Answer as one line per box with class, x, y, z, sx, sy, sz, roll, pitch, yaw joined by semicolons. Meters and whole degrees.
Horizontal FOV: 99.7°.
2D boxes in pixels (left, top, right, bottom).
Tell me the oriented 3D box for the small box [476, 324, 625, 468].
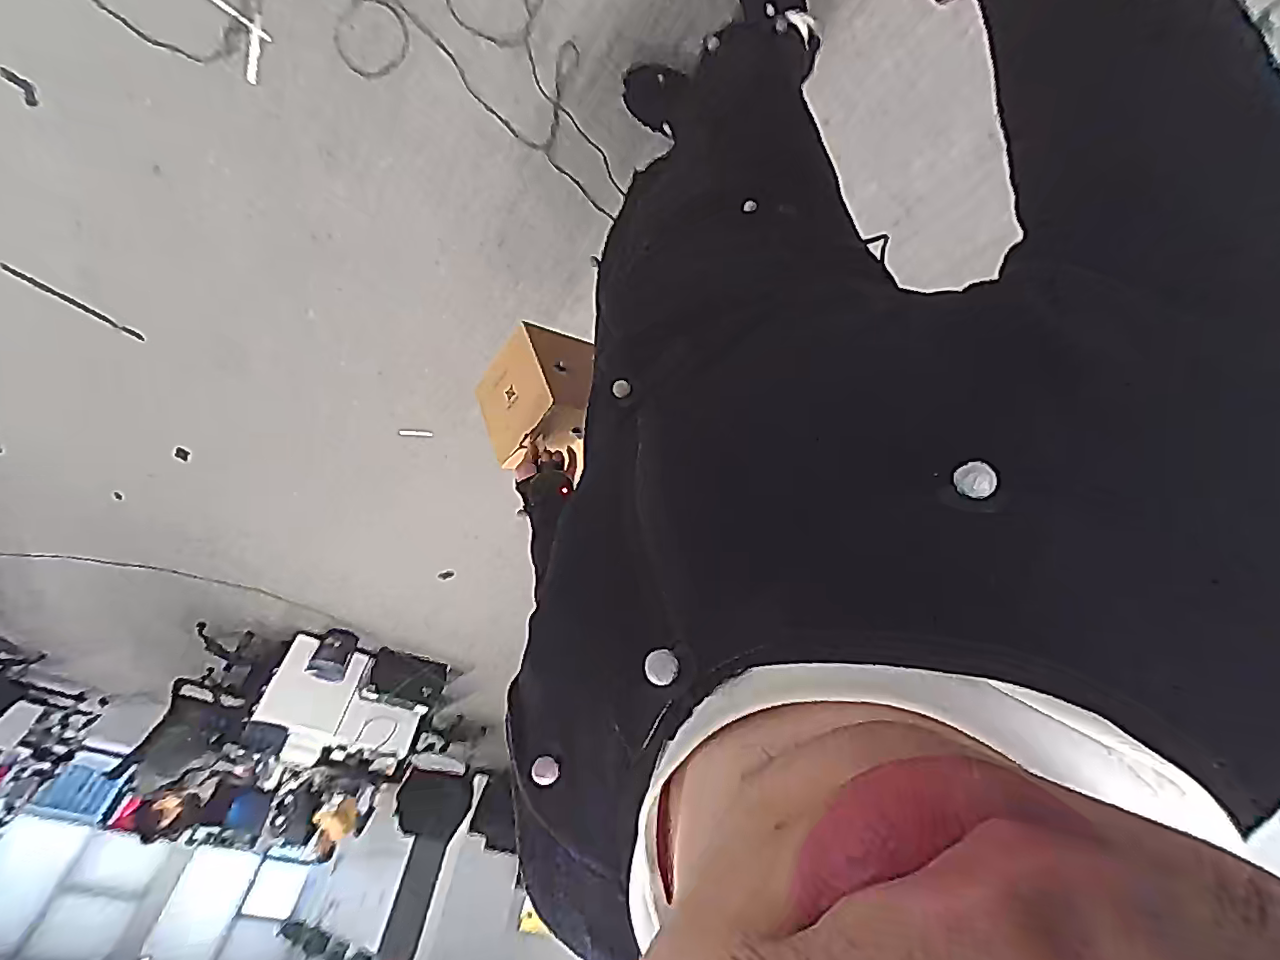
small box;-0.152;-0.132;0.930;0.176;0.179;0.168;7;141;-47
